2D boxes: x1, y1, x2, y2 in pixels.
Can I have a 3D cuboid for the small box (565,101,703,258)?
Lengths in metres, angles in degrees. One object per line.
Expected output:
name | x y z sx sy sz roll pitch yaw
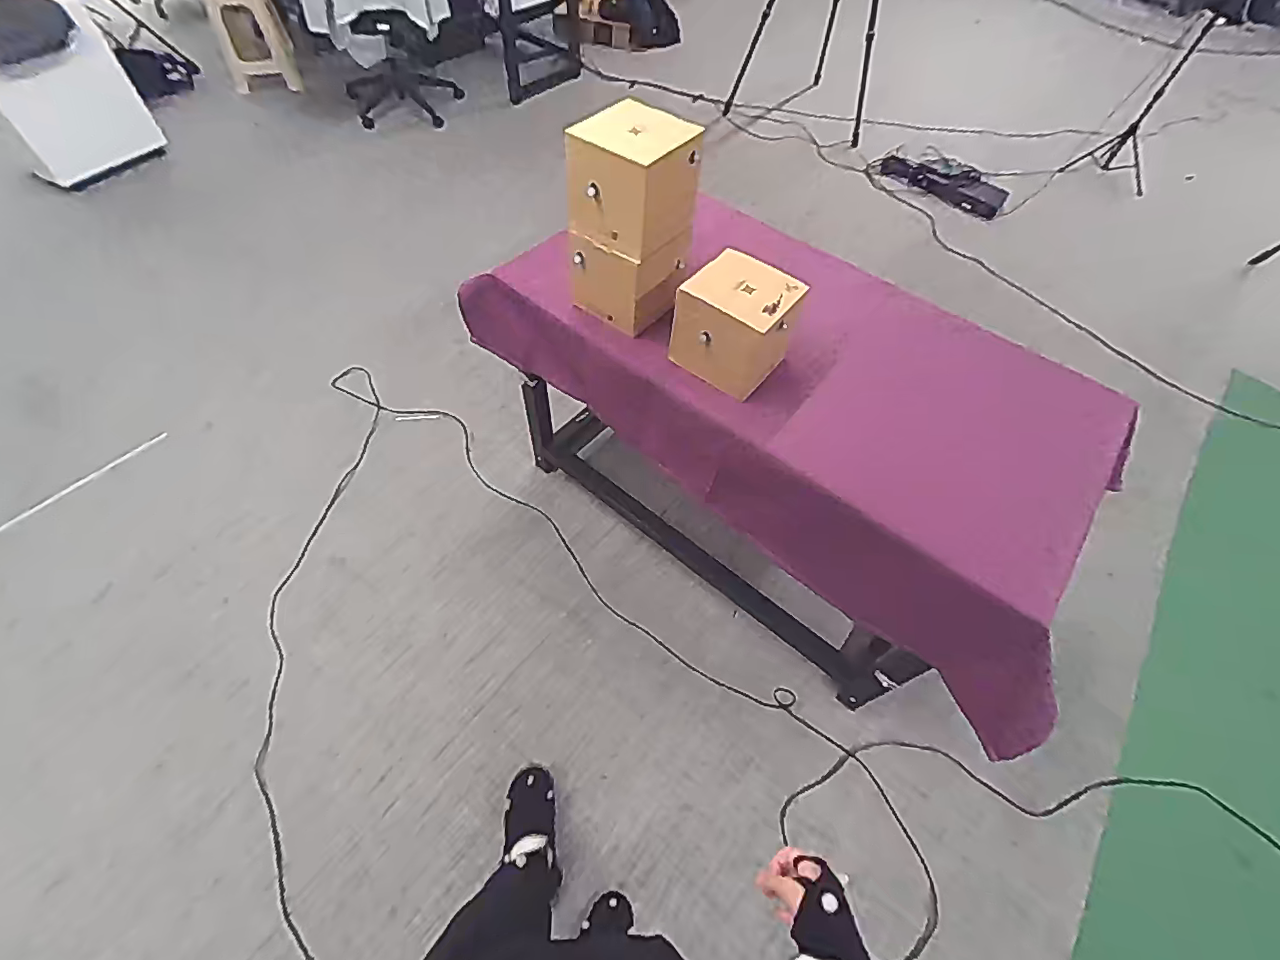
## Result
small box | -0.011 -0.523 0.949 0.168 0.176 0.179 32 59 17

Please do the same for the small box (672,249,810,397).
small box | 0.176 -0.285 0.995 0.179 0.176 0.168 34 61 18
